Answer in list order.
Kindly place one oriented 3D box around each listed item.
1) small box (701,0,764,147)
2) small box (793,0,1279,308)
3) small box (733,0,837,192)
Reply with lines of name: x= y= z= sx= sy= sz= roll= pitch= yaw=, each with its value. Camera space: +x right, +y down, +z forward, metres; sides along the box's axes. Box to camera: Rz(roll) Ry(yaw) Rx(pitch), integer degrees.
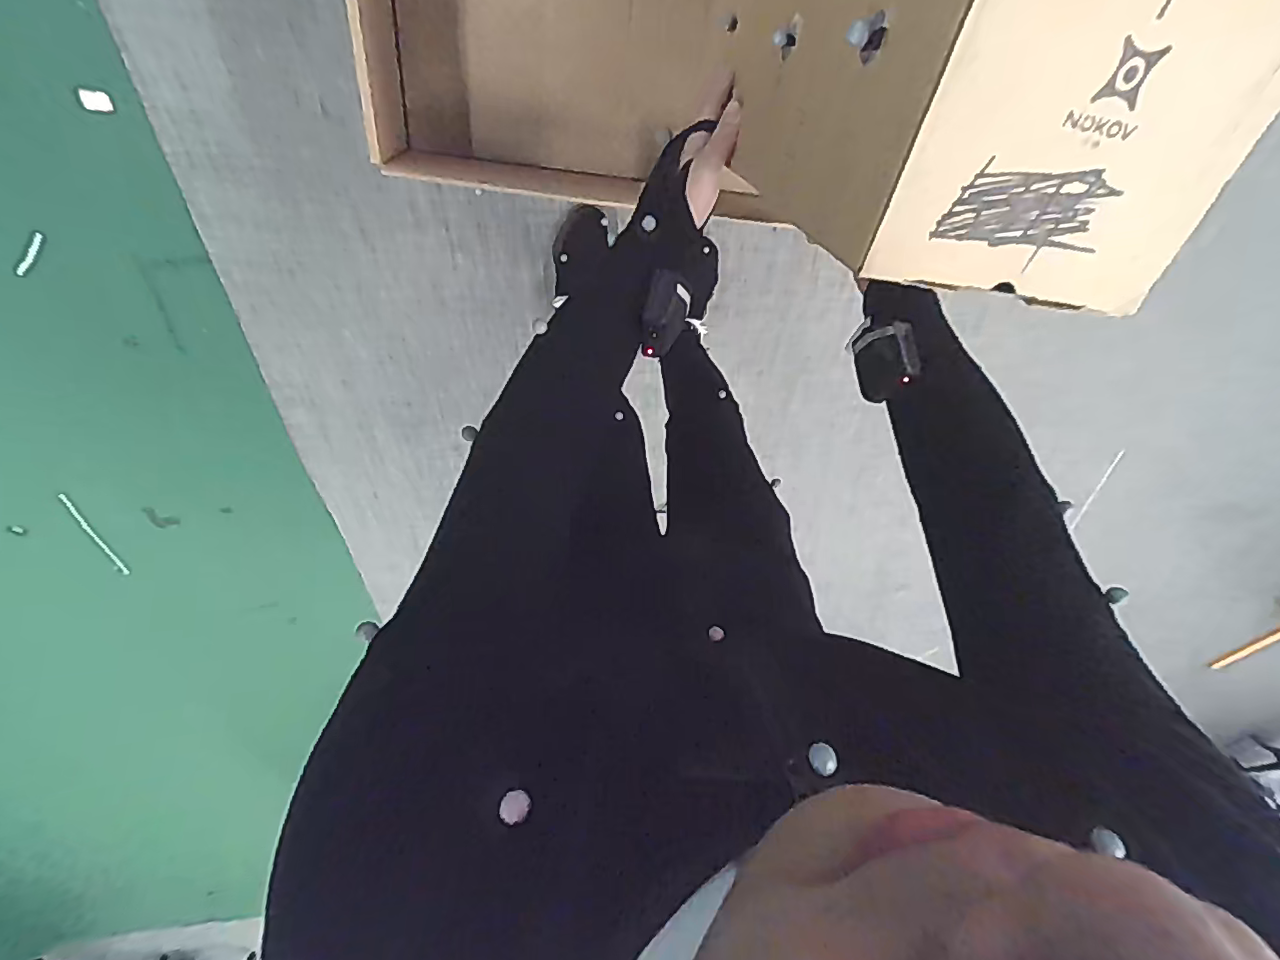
small box: x=0.168 y=-0.426 z=0.539 sx=0.168 sy=0.176 sz=0.179 roll=4 pitch=127 yaw=-11
small box: x=0.201 y=-0.216 z=0.289 sx=0.168 sy=0.176 sz=0.179 roll=4 pitch=126 yaw=-11
small box: x=0.184 y=-0.320 z=0.414 sx=0.168 sy=0.176 sz=0.179 roll=4 pitch=128 yaw=-11
